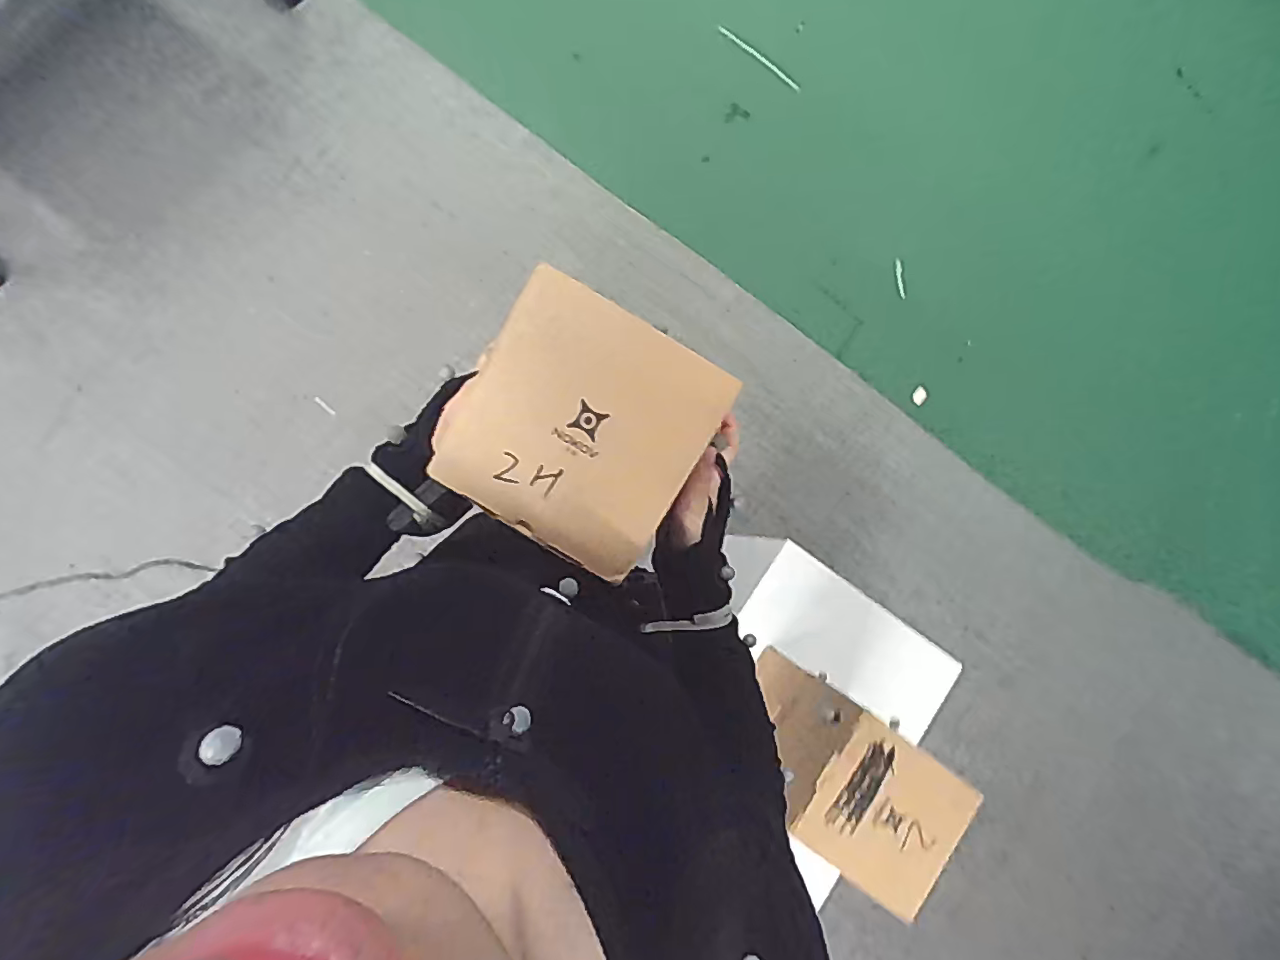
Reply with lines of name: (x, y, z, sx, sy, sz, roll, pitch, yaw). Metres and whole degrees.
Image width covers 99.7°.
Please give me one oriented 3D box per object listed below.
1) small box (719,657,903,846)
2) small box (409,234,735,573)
small box: (0.250, 0.399, 0.831, 0.179, 0.176, 0.168, 37, 82, -2)
small box: (-0.046, -0.057, 0.443, 0.168, 0.176, 0.179, 30, 97, -1)
